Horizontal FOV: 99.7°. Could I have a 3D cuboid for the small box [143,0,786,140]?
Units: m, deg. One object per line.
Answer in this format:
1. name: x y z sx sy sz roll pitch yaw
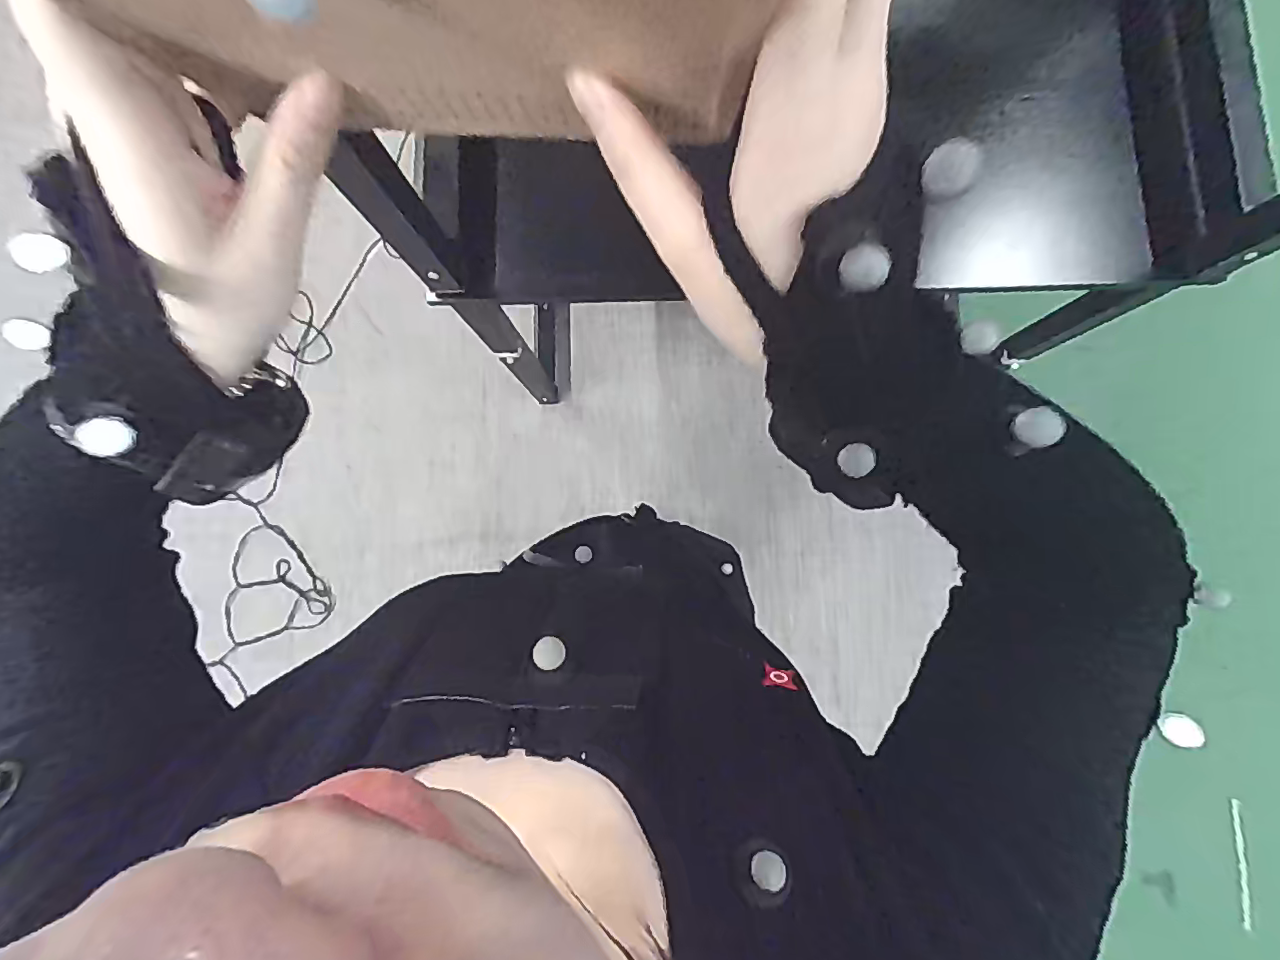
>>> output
1. small box: -0.044 -0.191 0.113 0.179 0.176 0.168 3 106 1
